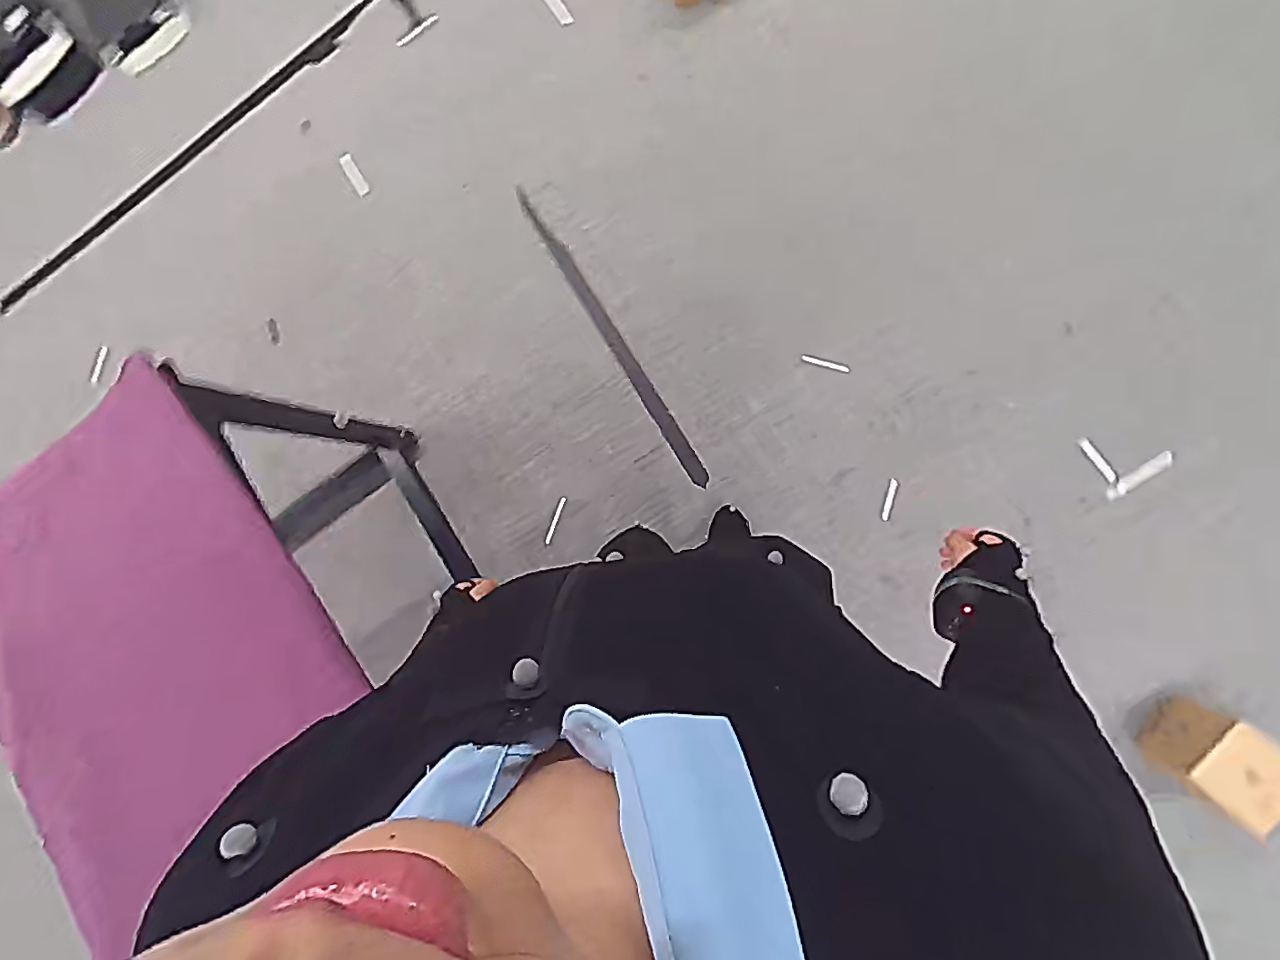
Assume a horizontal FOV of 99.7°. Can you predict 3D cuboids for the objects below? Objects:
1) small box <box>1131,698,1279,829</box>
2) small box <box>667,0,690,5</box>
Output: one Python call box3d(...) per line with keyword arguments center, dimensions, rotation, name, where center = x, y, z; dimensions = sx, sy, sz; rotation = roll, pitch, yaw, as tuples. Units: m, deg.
box3d(center=(1.275, 0.614, 1.205), dimensions=(0.179, 0.176, 0.168), rotation=(41, 93, 8), name="small box")
box3d(center=(0.143, -1.469, 1.489), dimensions=(0.179, 0.176, 0.168), rotation=(-8, 85, 7), name="small box")
